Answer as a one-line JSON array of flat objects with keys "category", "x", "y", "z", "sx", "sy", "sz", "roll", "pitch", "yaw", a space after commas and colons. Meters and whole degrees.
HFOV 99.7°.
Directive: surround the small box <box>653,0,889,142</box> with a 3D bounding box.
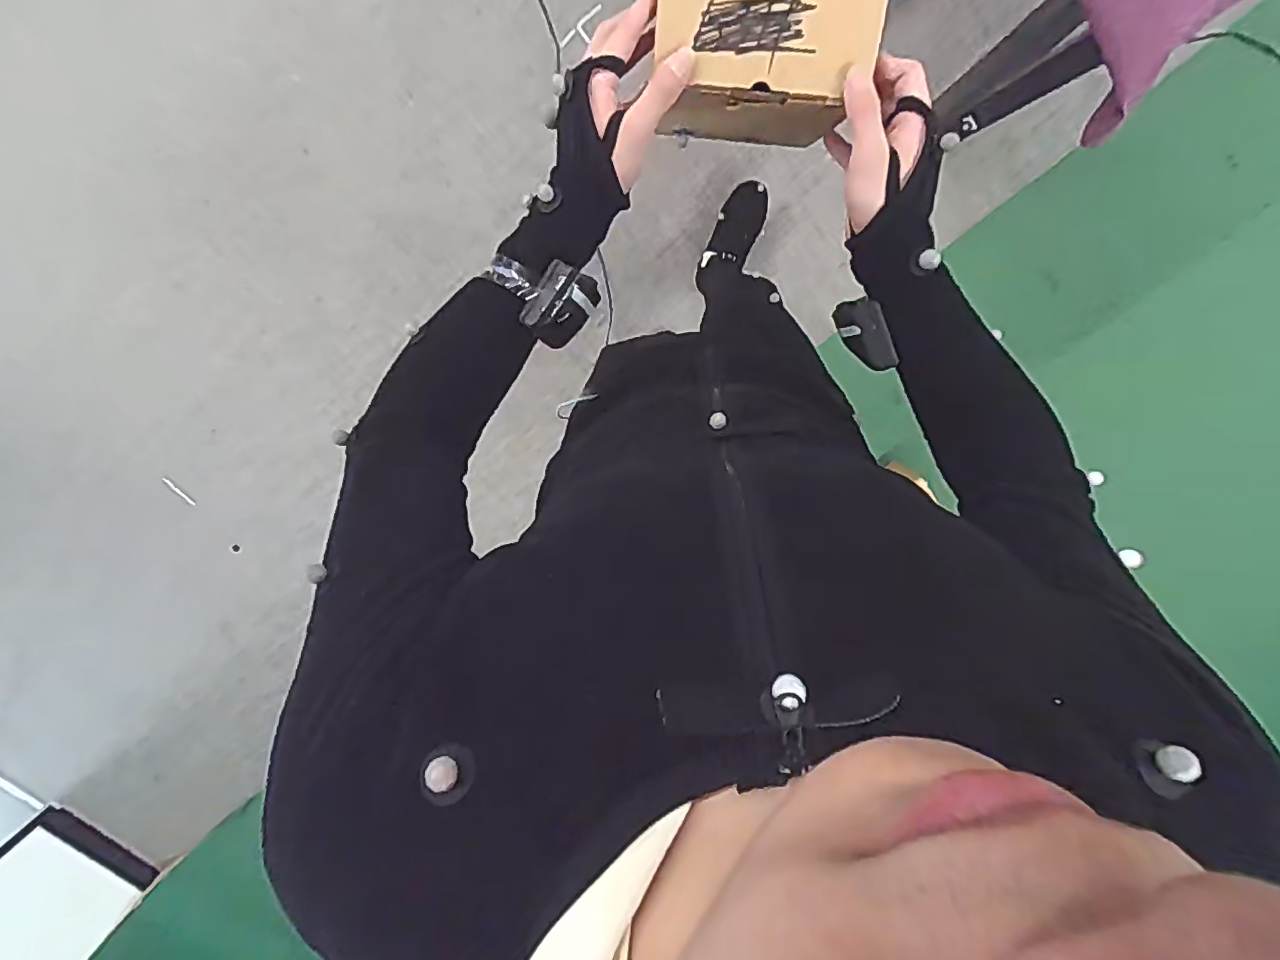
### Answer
[{"category": "small box", "x": 0.100, "y": -0.399, "z": 0.447, "sx": 0.168, "sy": 0.176, "sz": 0.179, "roll": 4, "pitch": 111, "yaw": -1}]
